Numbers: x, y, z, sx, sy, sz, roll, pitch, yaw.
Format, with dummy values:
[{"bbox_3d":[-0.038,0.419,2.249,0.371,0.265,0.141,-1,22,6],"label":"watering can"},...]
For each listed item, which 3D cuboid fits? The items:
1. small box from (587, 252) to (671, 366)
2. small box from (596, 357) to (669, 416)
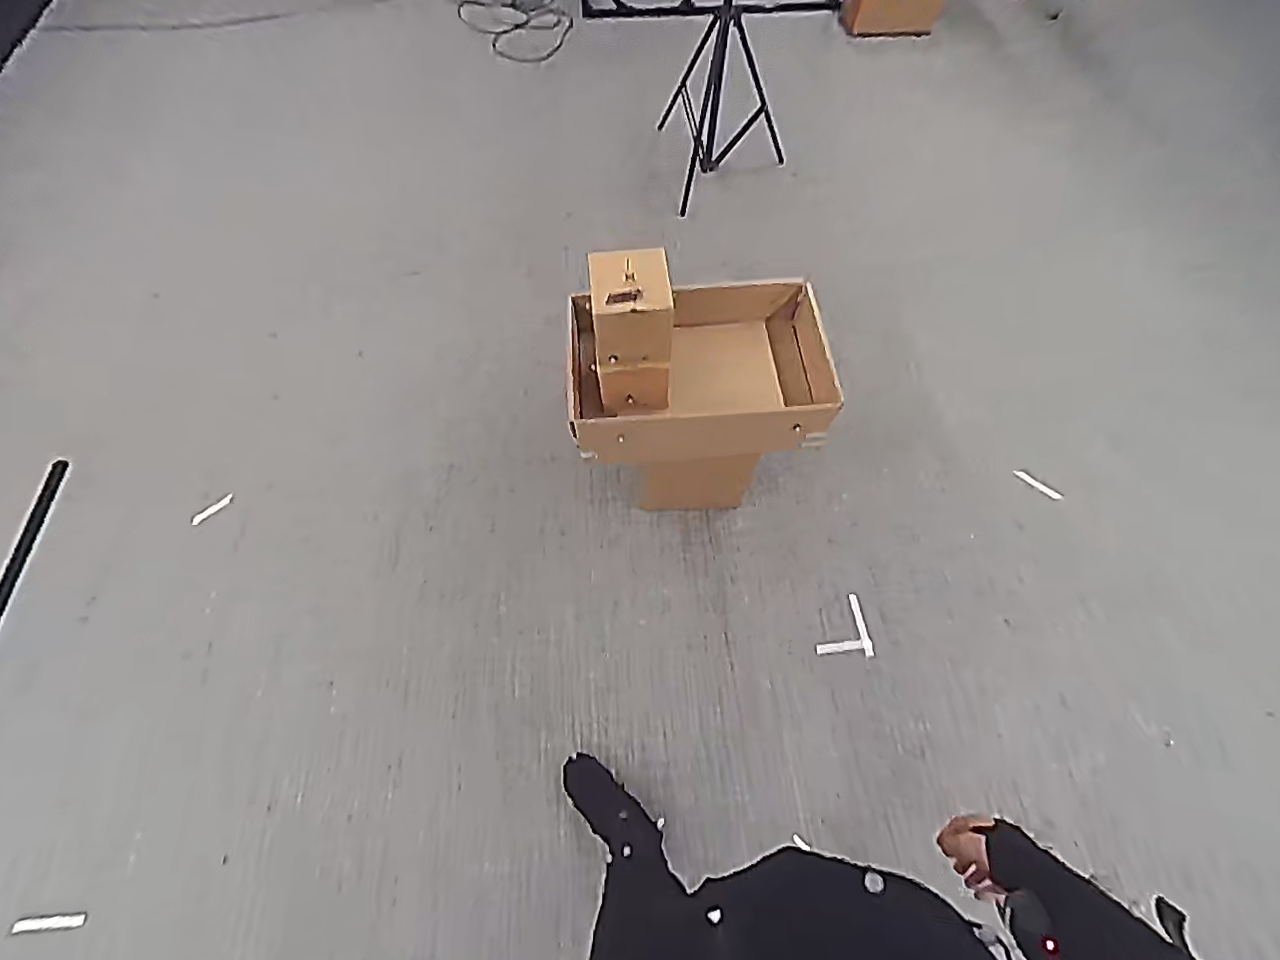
[{"bbox_3d":[-0.023,-0.365,1.183,0.168,0.176,0.179,-5,63,-2],"label":"small box"},{"bbox_3d":[-0.022,-0.280,1.324,0.168,0.176,0.179,-6,64,-2],"label":"small box"}]
